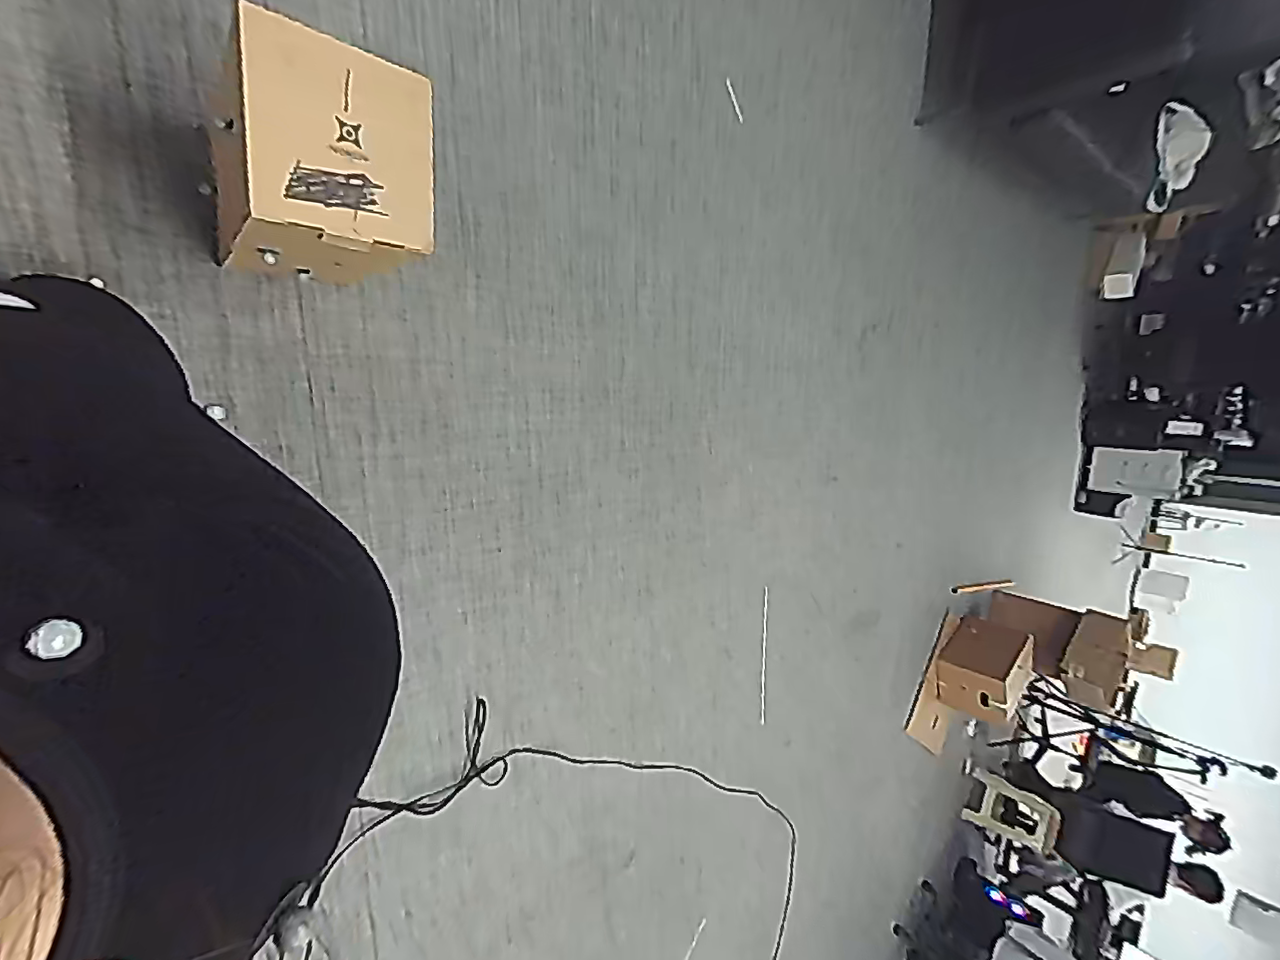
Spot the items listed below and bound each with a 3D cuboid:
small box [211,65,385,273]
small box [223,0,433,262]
[{"bbox_3d":[-0.439,-0.376,0.698,0.168,0.176,0.179,-6,104,-41],"label":"small box"},{"bbox_3d":[-0.333,-0.345,0.576,0.168,0.176,0.179,-5,101,-41],"label":"small box"}]
